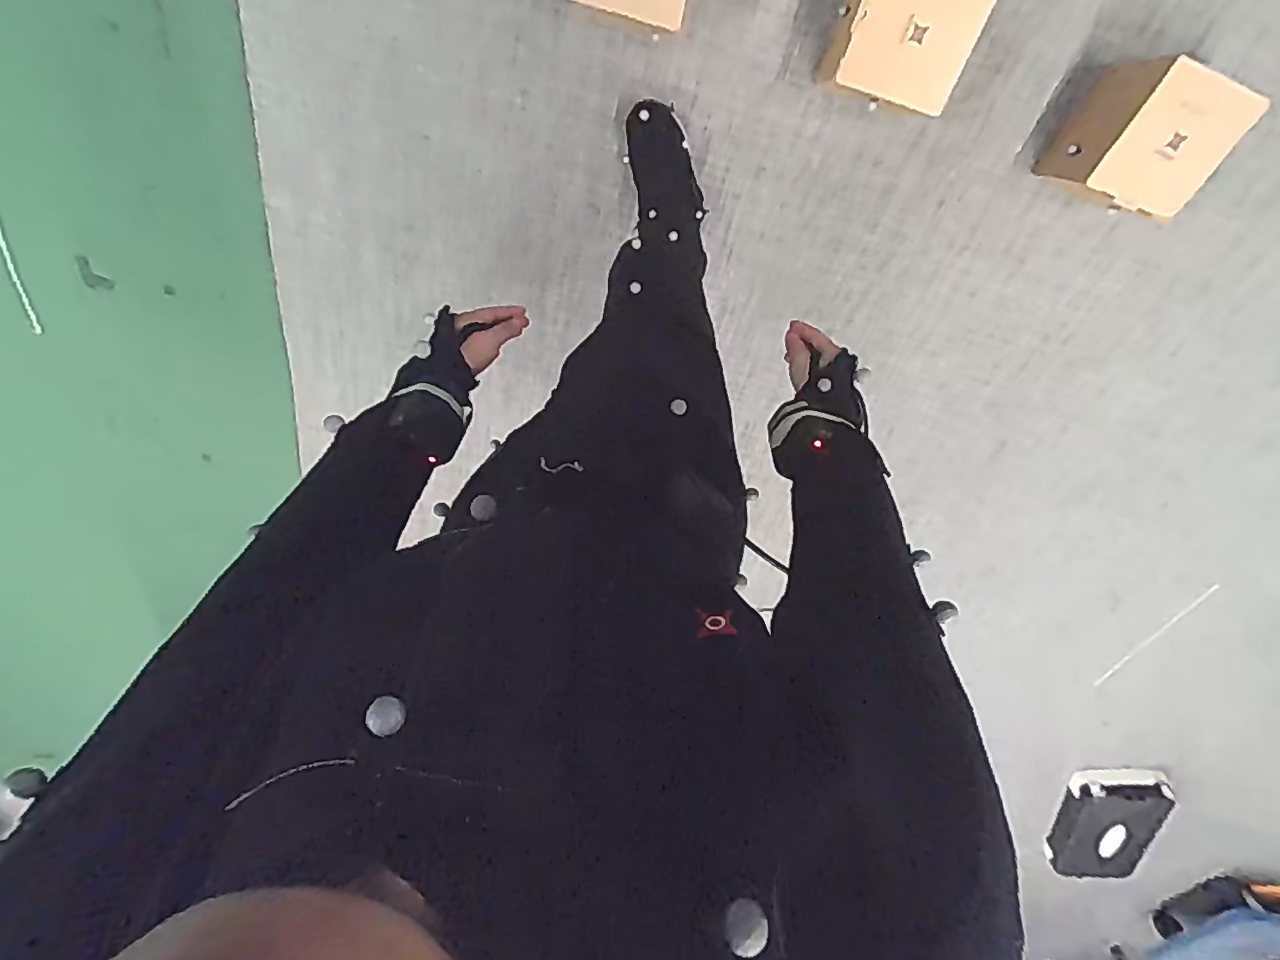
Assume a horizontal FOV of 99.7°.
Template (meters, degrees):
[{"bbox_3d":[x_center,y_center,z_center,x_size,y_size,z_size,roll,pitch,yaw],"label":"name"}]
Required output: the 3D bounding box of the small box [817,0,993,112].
[{"bbox_3d":[0.399,-0.693,0.835,0.179,0.176,0.168,16,125,-4],"label":"small box"}]

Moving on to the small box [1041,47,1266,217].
[{"bbox_3d":[0.806,-0.560,0.880,0.168,0.176,0.179,18,124,-8],"label":"small box"}]
